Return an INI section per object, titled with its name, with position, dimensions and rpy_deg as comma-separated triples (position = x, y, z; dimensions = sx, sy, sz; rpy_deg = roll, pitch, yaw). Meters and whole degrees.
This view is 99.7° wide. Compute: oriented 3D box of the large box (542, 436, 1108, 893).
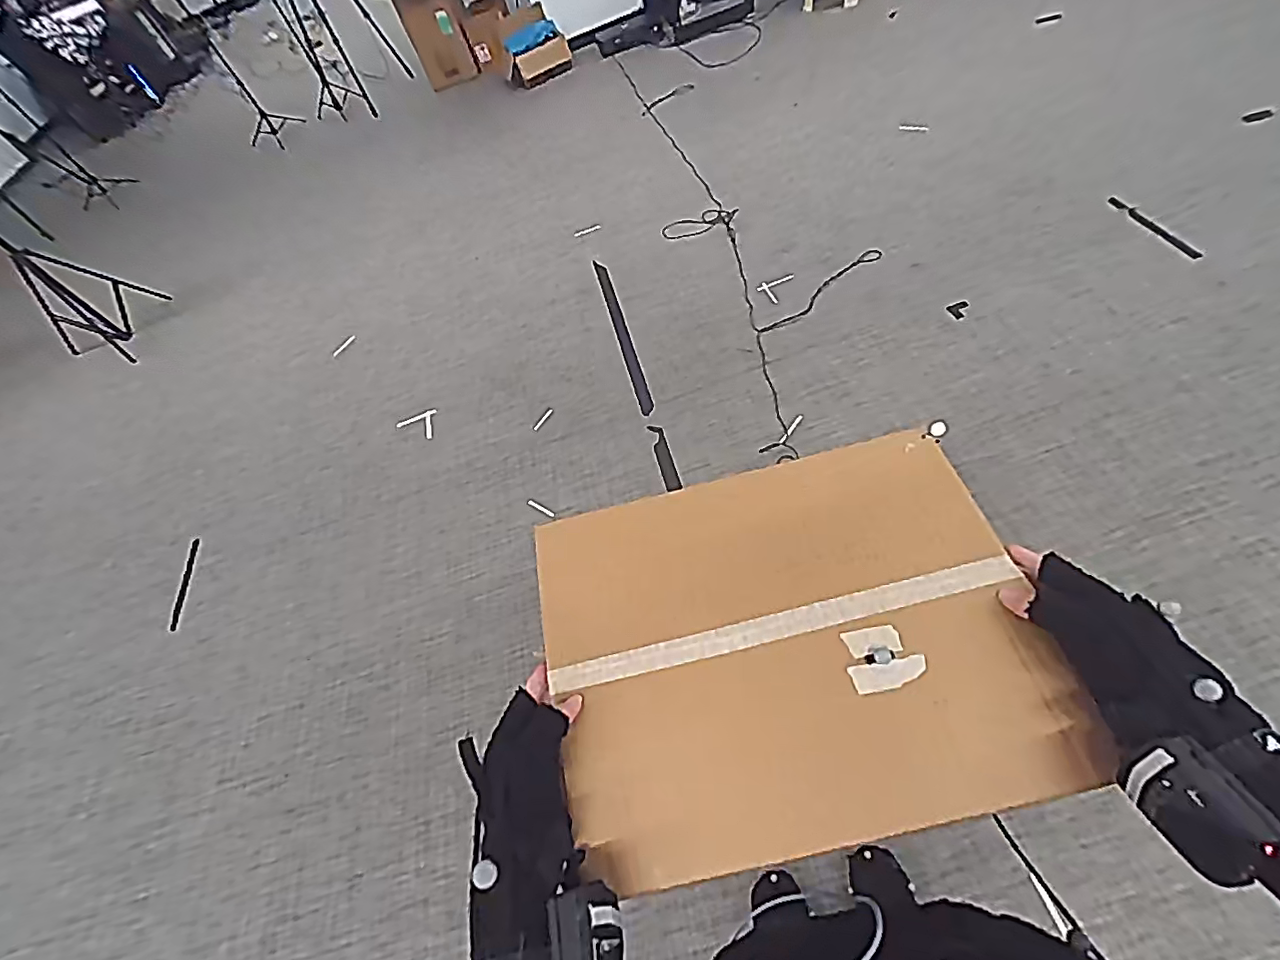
[large box]
position = 0.141, 0.208, 0.597
dimensions = 0.408, 0.320, 0.320
rpy_deg = -14, 57, 1
